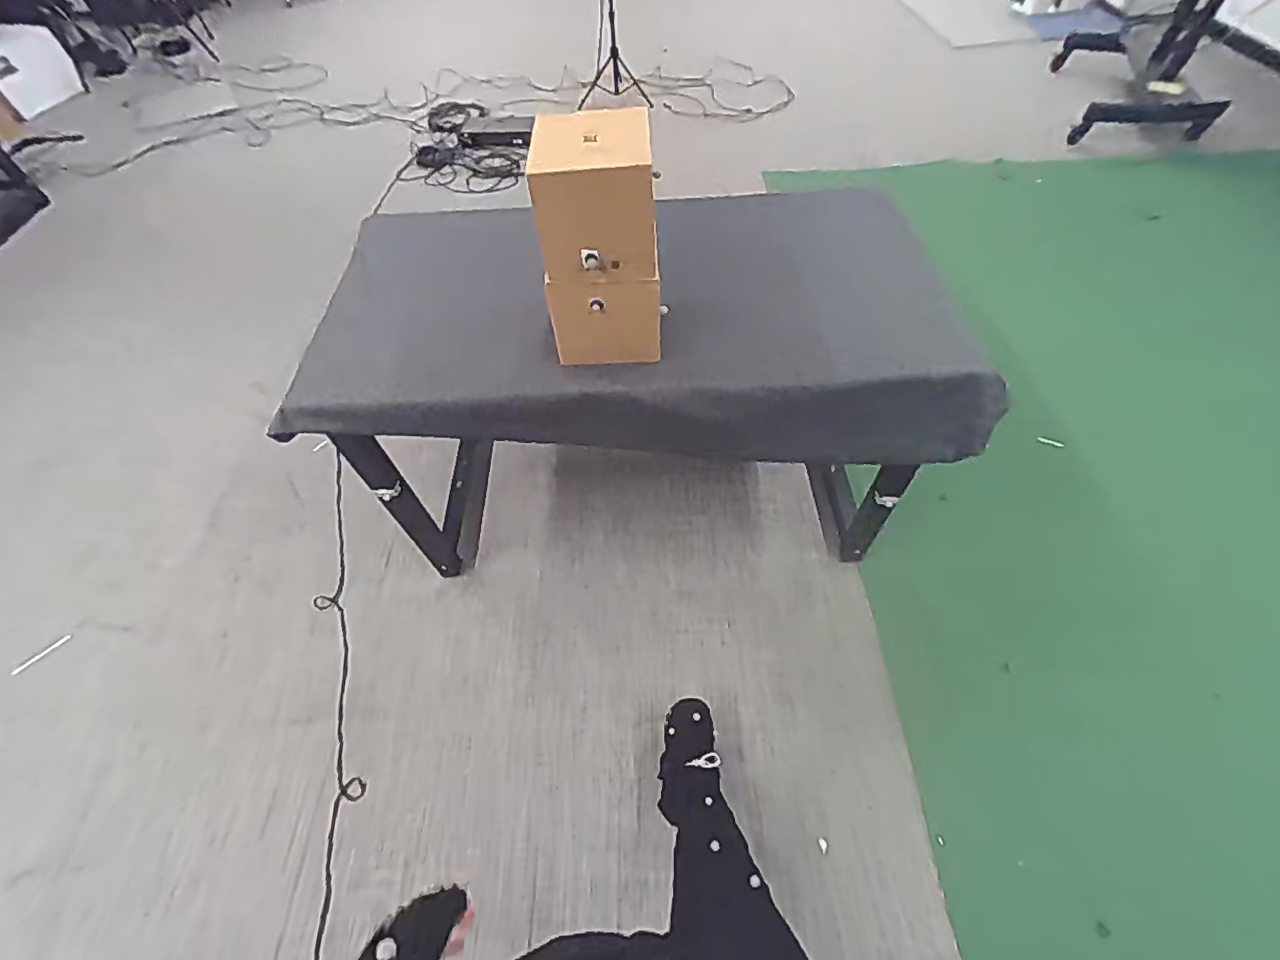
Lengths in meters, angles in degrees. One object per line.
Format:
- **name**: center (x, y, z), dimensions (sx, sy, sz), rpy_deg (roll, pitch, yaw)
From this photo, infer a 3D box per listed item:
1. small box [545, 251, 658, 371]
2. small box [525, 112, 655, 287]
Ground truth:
- **small box**: center (-0.059, -0.306, 0.948), dimensions (0.179, 0.176, 0.168), rpy_deg (-2, 55, 1)
- **small box**: center (-0.066, -0.414, 0.806), dimensions (0.168, 0.176, 0.179), rpy_deg (-4, 56, 2)
